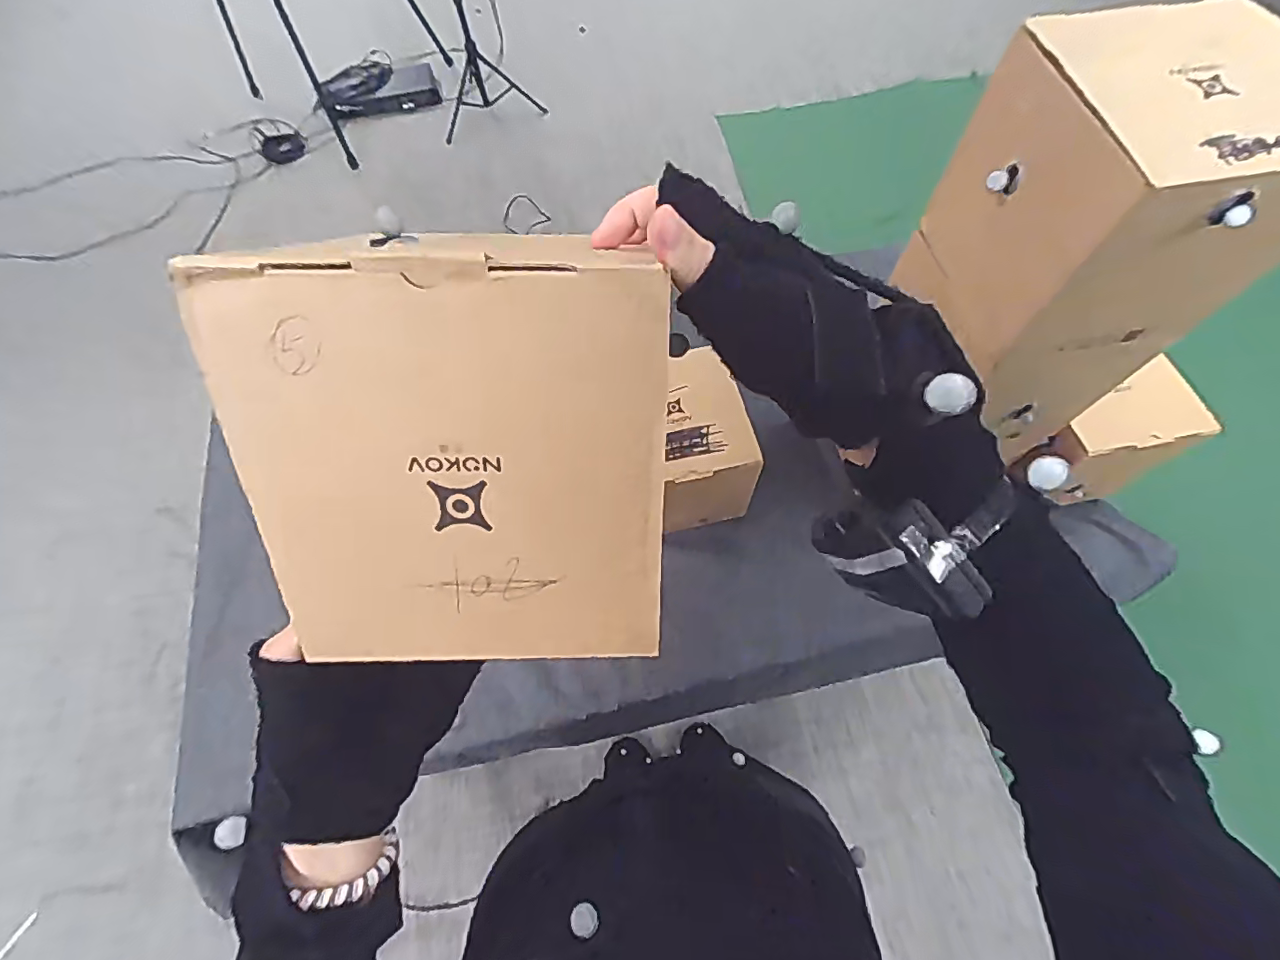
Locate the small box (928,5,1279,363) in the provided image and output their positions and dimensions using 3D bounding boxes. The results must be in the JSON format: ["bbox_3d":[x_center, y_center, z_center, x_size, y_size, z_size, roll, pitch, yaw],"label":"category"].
[{"bbox_3d":[0.359,-0.218,0.419,0.168,0.176,0.179,-8,64,-1],"label":"small box"}]

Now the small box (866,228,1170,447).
[{"bbox_3d":[0.367,-0.148,0.568,0.168,0.176,0.179,-10,64,-2],"label":"small box"}]
